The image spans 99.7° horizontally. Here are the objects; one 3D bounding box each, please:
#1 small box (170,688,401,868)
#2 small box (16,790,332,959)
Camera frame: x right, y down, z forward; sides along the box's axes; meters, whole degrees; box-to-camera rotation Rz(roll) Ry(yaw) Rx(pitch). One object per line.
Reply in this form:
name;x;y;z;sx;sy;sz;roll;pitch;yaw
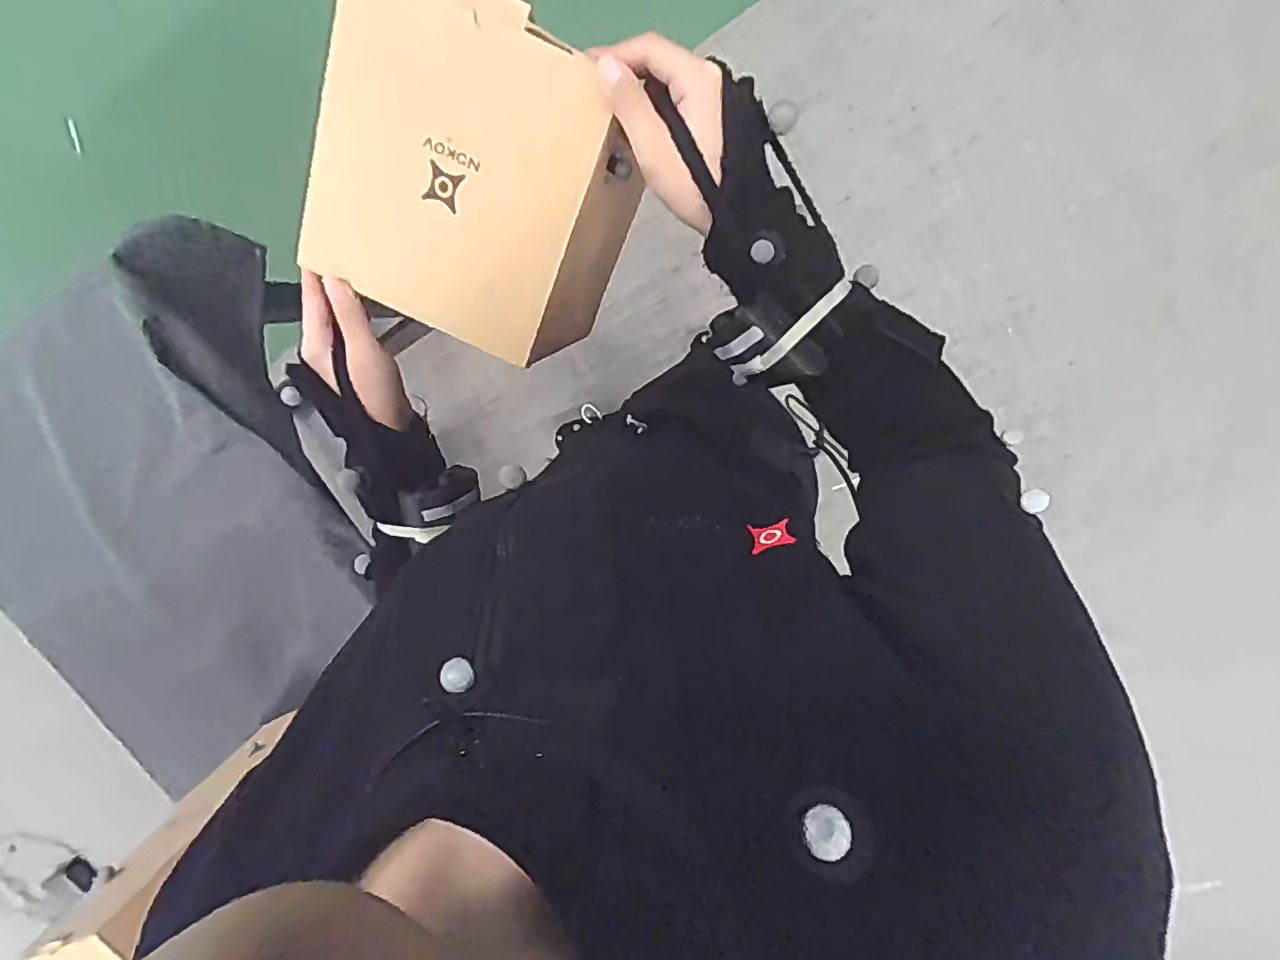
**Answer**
small box;-0.484;0.432;0.765;0.179;0.176;0.168;-28;102;16
small box;-0.505;0.487;0.613;0.168;0.176;0.179;-28;102;18
